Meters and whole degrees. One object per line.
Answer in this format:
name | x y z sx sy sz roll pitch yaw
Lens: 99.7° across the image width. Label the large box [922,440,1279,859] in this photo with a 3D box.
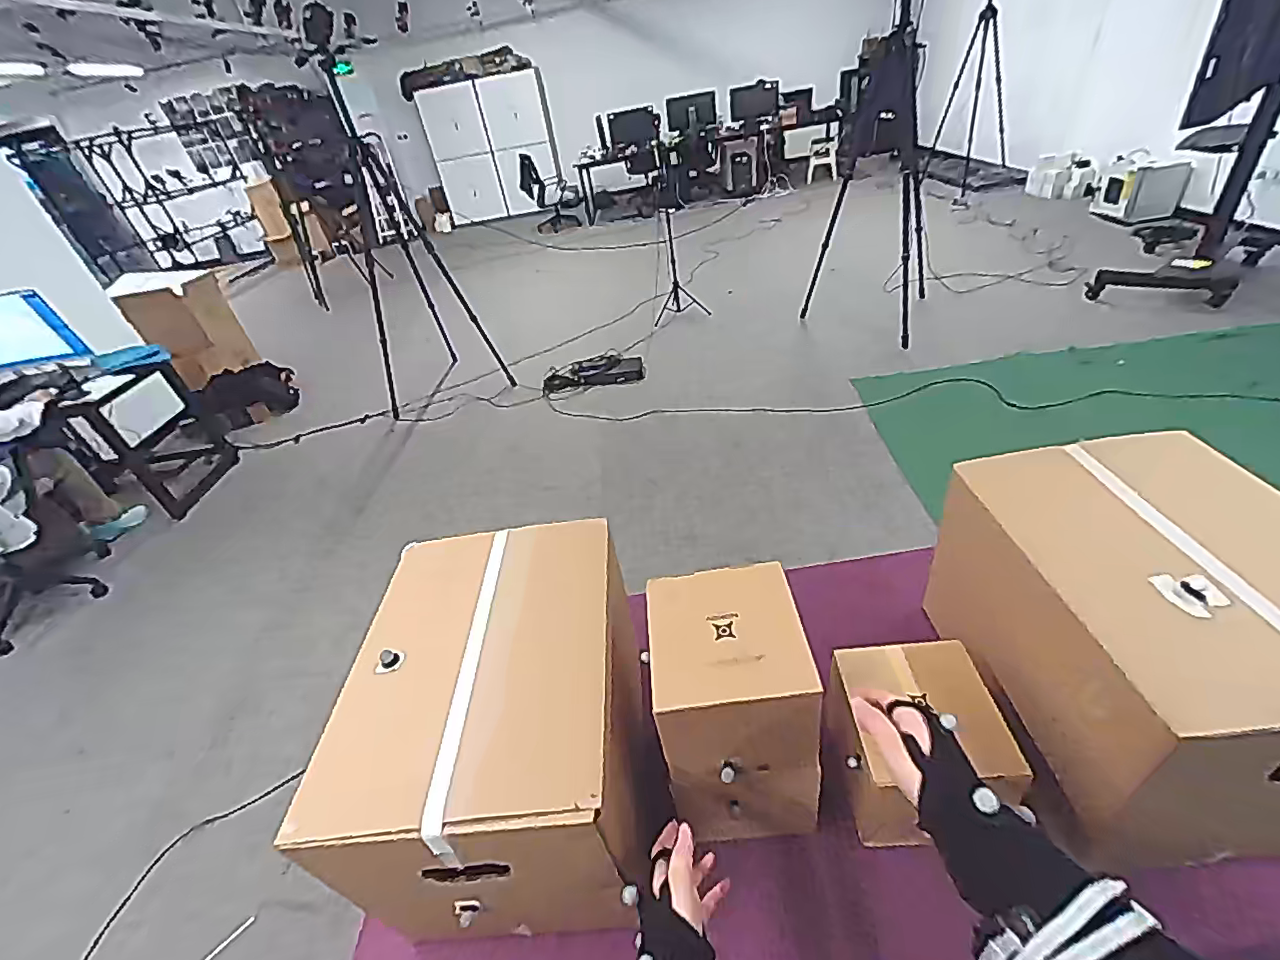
large box | 0.626 0.198 0.698 0.320 0.320 0.408 -8 37 5
